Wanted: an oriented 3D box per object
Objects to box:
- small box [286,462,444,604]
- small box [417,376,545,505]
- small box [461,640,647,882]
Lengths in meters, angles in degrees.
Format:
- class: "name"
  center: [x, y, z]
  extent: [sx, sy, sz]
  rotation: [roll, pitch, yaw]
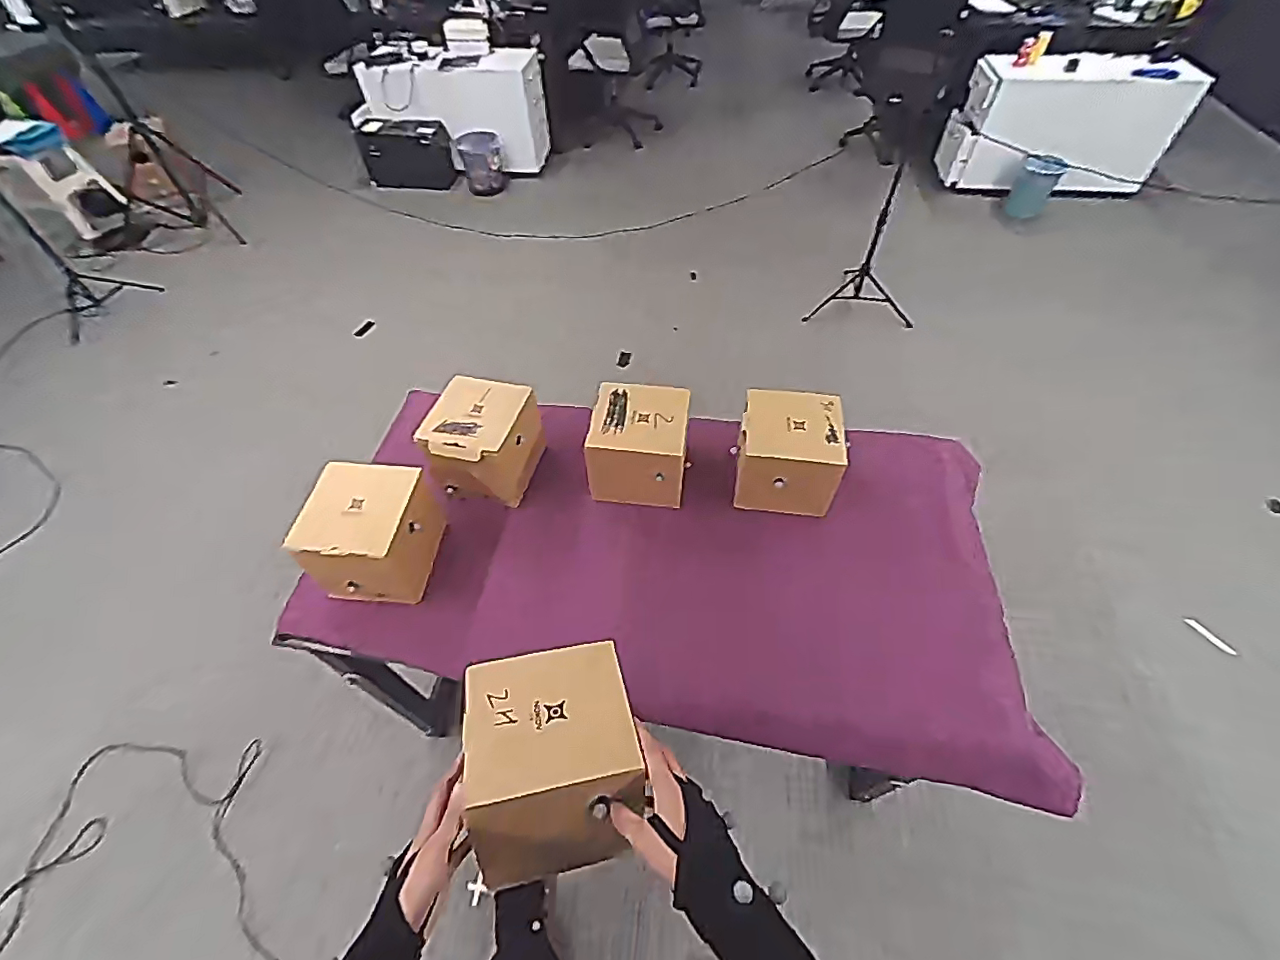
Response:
- class: "small box"
  center: [-0.455, 0.093, 0.933]
  extent: [0.168, 0.176, 0.179]
  rotation: [4, 53, 2]
- class: "small box"
  center: [-0.297, -0.074, 1.060]
  extent: [0.168, 0.176, 0.179]
  rotation: [11, 54, 9]
- class: "small box"
  center: [-0.094, 0.313, 0.613]
  extent: [0.179, 0.176, 0.168]
  rotation: [-7, 32, -10]
